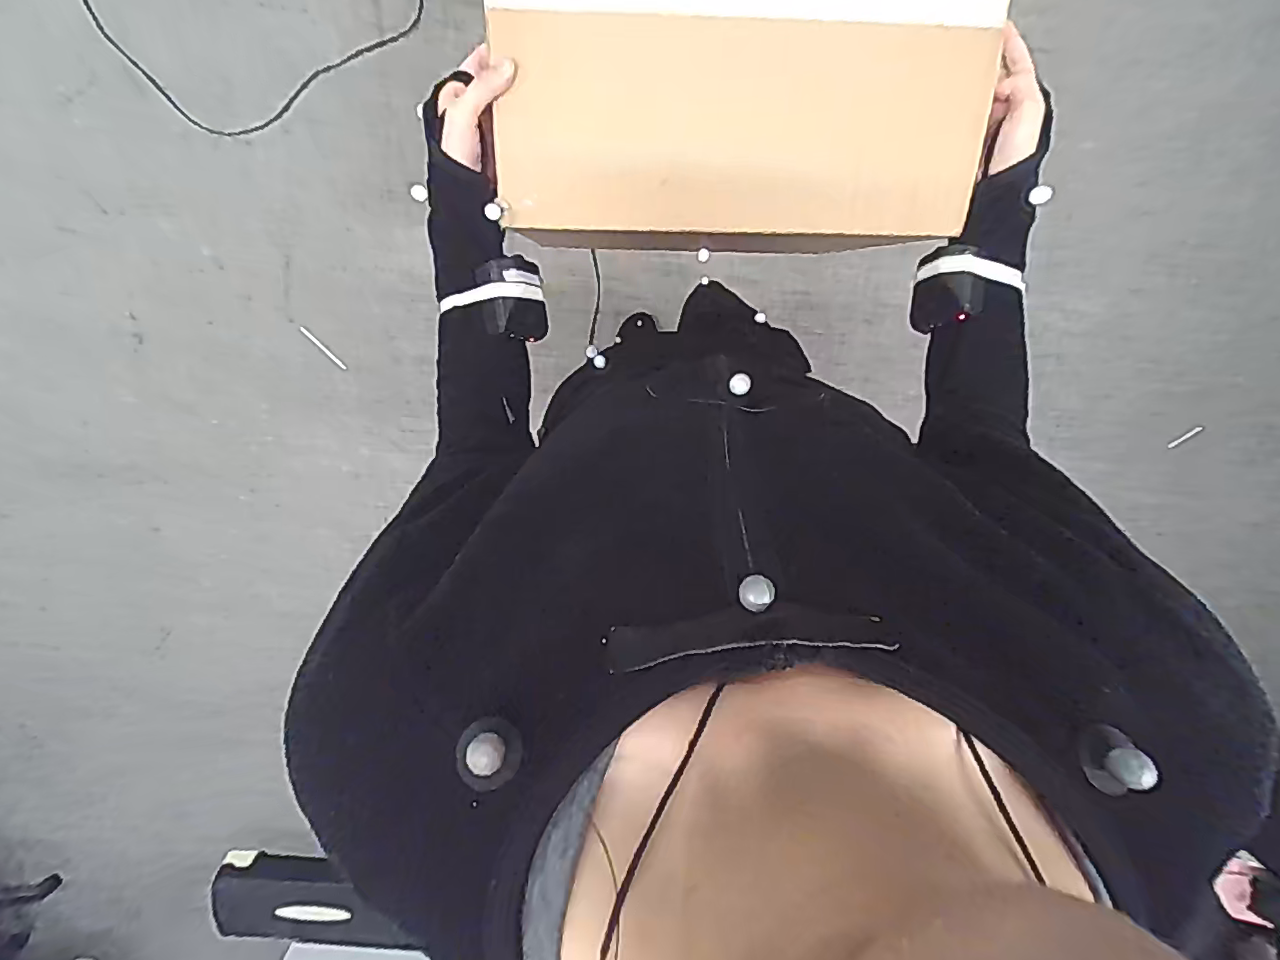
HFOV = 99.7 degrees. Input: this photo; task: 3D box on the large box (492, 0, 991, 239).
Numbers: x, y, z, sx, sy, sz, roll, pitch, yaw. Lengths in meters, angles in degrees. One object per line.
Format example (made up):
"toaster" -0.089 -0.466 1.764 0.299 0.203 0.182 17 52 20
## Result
"large box" 0.077 -0.425 0.564 0.408 0.320 0.320 0 110 -3
